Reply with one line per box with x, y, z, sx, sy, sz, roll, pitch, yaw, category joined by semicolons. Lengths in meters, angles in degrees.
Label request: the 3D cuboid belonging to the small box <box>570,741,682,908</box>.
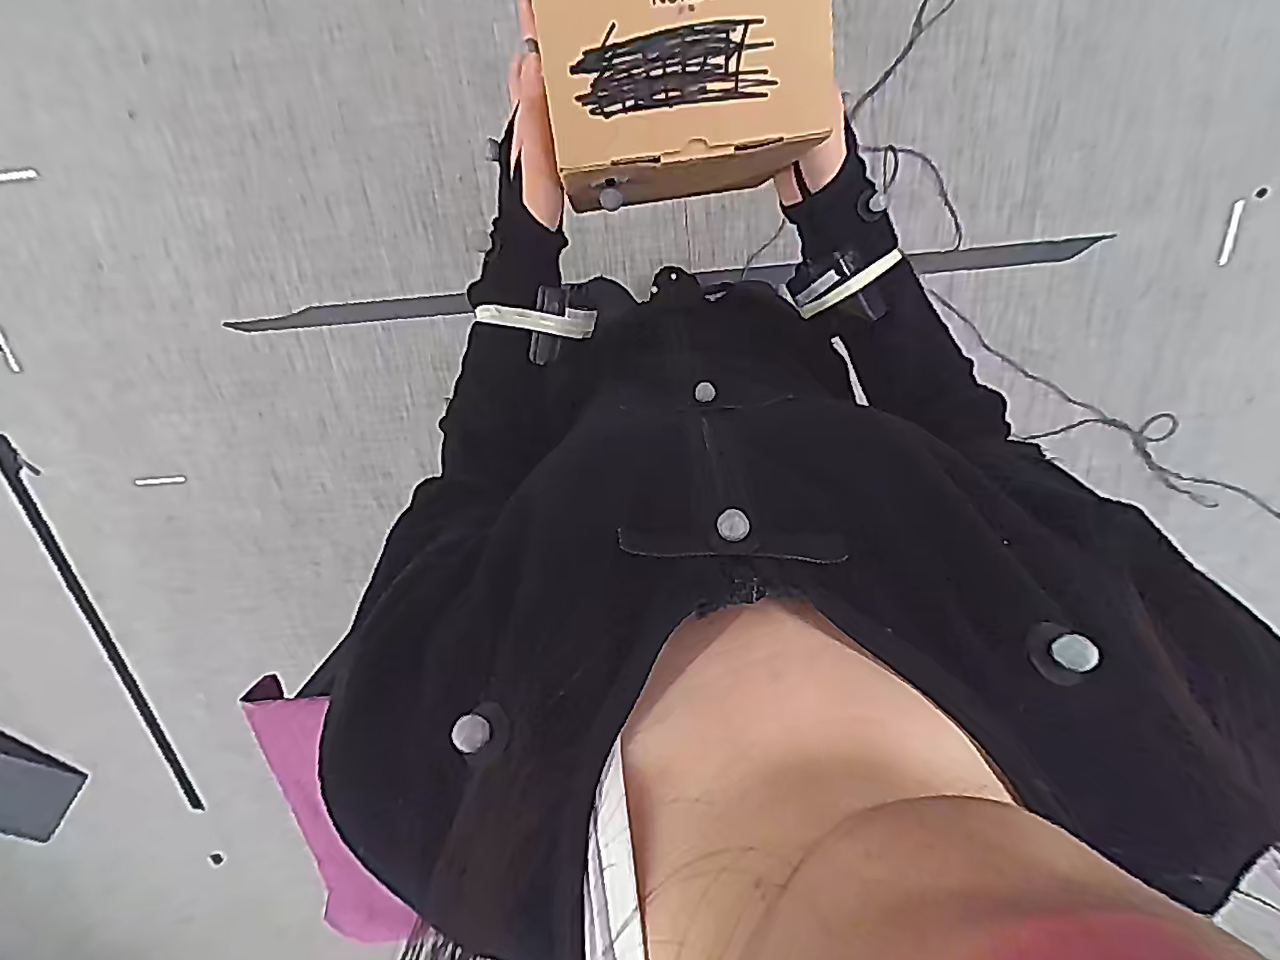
-0.015;0.563;0.892;0.168;0.176;0.179;-3;112;2;small box
